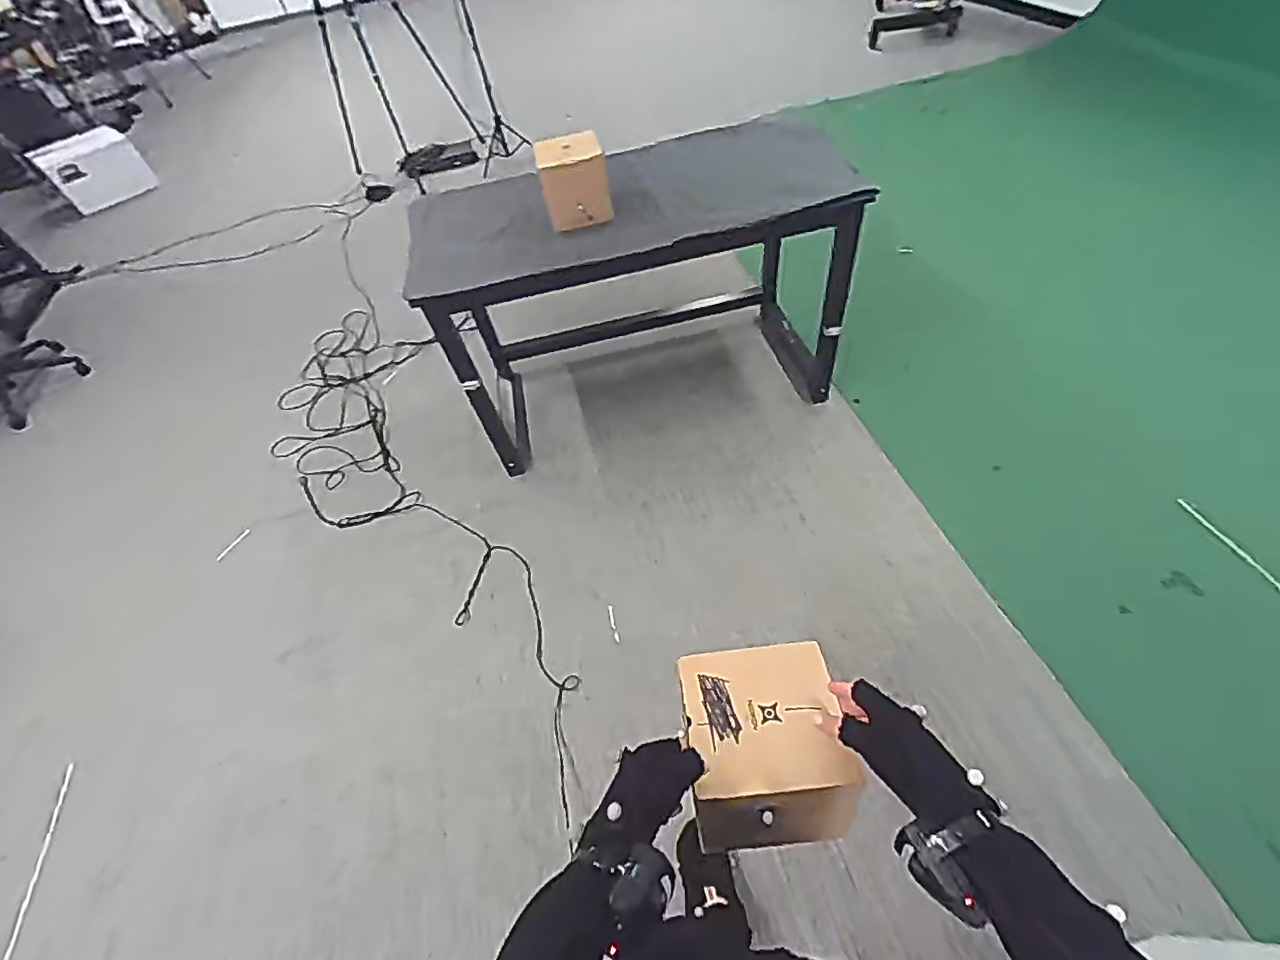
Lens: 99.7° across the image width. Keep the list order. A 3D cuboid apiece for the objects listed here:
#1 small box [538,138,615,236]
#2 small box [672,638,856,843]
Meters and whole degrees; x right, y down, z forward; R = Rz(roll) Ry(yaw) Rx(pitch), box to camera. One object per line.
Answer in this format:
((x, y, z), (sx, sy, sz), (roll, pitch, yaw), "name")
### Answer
((-0.171, -0.788, 1.458), (0.168, 0.176, 0.179), (-14, 51, -1), "small box")
((0.140, 0.317, 0.656), (0.179, 0.176, 0.168), (-7, 40, 2), "small box")
